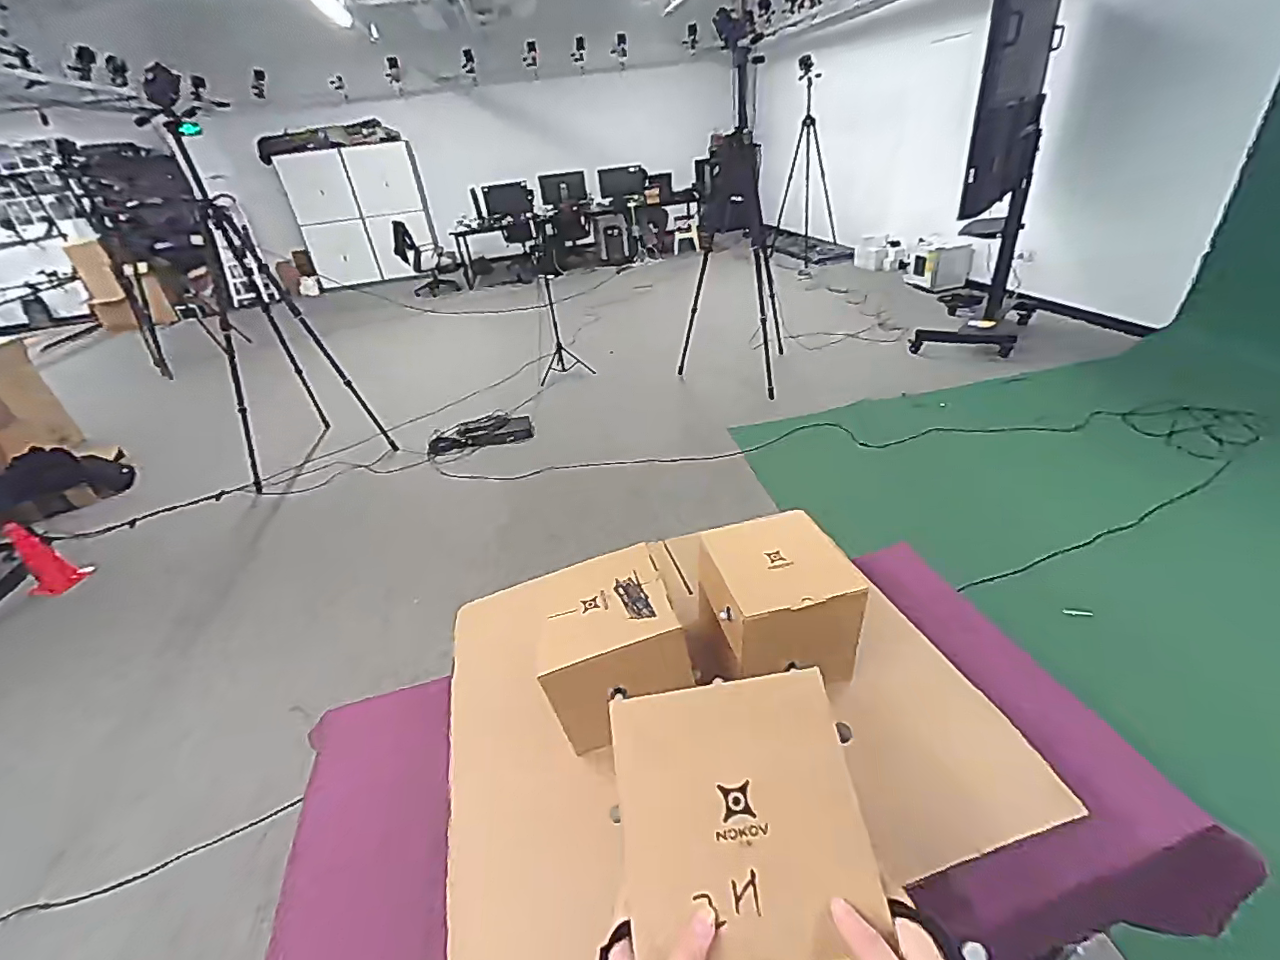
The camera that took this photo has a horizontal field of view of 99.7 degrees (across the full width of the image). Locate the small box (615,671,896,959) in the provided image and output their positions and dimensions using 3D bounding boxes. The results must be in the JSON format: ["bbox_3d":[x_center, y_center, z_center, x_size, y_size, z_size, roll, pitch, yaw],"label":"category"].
[{"bbox_3d":[0.080,0.272,0.448,0.168,0.176,0.179,-11,61,5],"label":"small box"}]

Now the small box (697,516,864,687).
[{"bbox_3d":[0.183,0.178,0.761,0.168,0.176,0.179,-12,32,-10],"label":"small box"}]
